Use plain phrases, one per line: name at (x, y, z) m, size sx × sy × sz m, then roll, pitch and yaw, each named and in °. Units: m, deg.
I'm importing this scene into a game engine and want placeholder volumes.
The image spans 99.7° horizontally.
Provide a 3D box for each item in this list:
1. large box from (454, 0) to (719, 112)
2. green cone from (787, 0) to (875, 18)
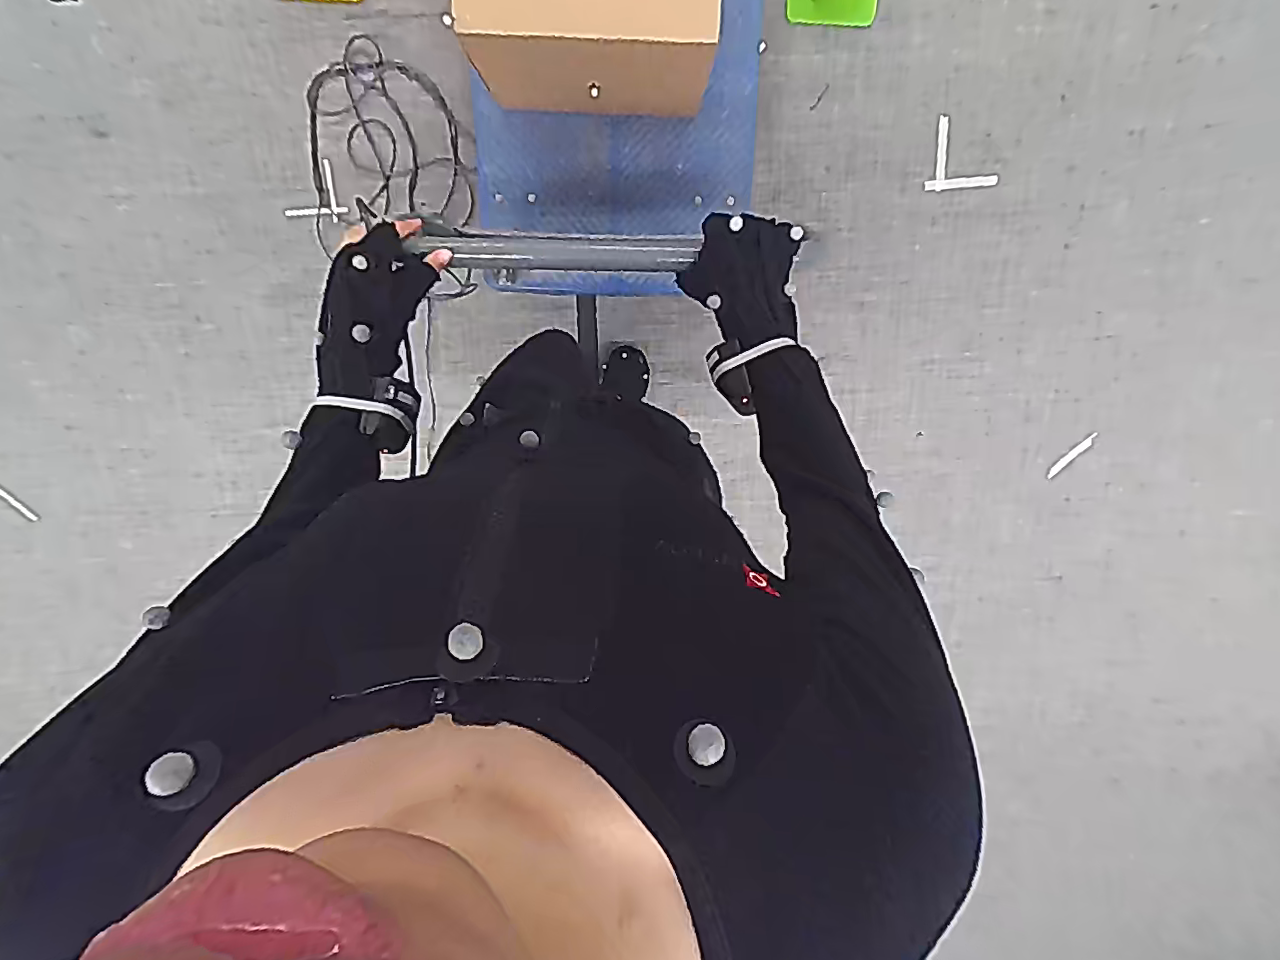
large box at (-0.077, -0.858, 0.921) m, size 0.408 × 0.320 × 0.320 m, roll 2°, pitch 106°, yaw -1°
green cone at (0.432, -1.085, 1.014) m, size 0.202 × 0.368 × 0.200 m, roll 2°, pitch 105°, yaw -3°
